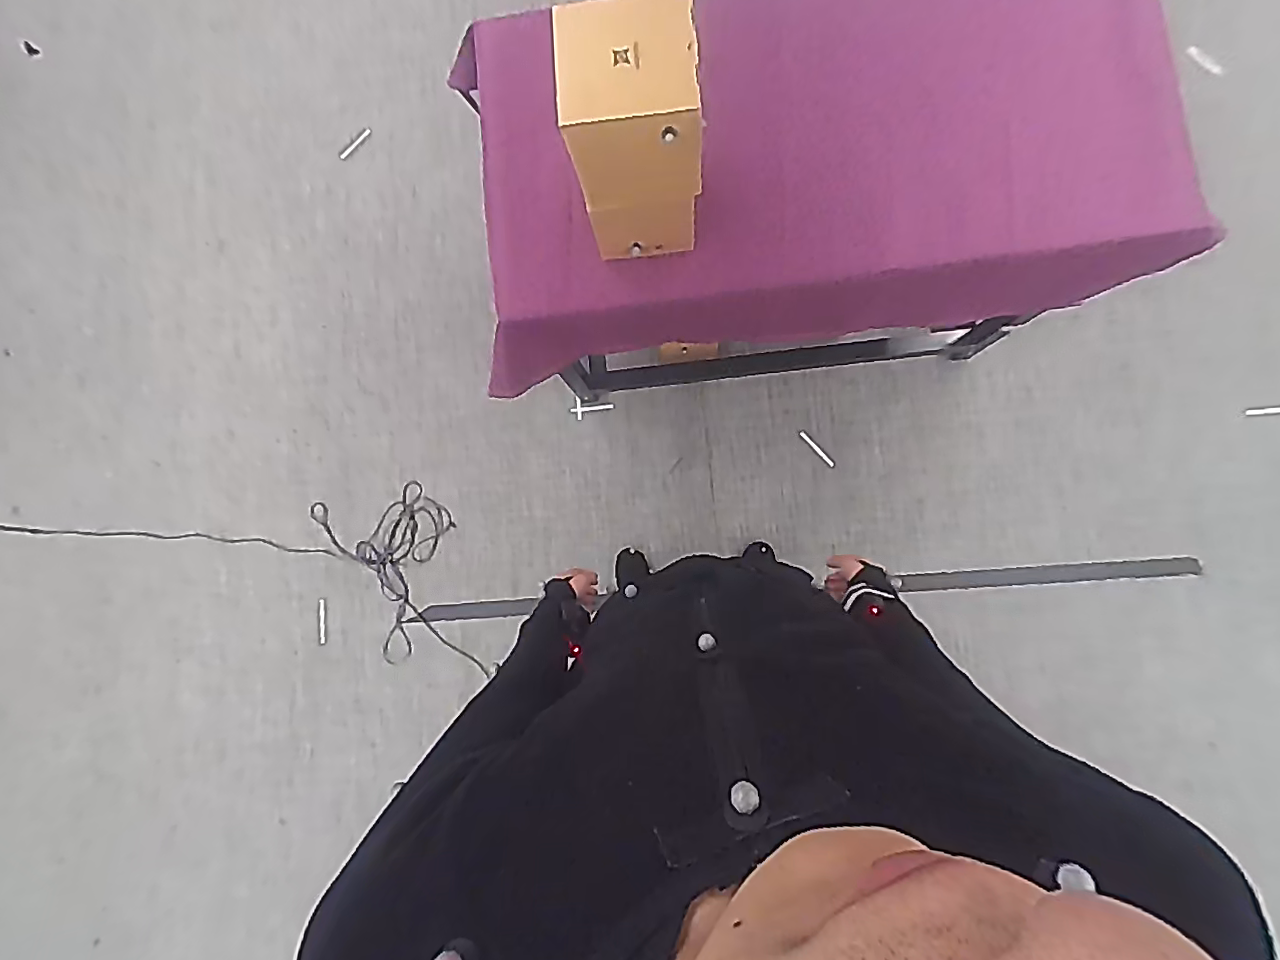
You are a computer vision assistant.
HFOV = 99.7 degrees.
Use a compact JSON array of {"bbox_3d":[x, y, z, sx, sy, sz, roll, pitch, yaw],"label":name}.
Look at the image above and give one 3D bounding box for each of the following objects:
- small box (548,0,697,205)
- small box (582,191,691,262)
[{"bbox_3d":[-0.016,-0.498,0.731,0.179,0.176,0.168,-4,84,5],"label":"small box"},{"bbox_3d":[-0.004,-0.489,0.893,0.168,0.176,0.179,-5,85,6],"label":"small box"}]
